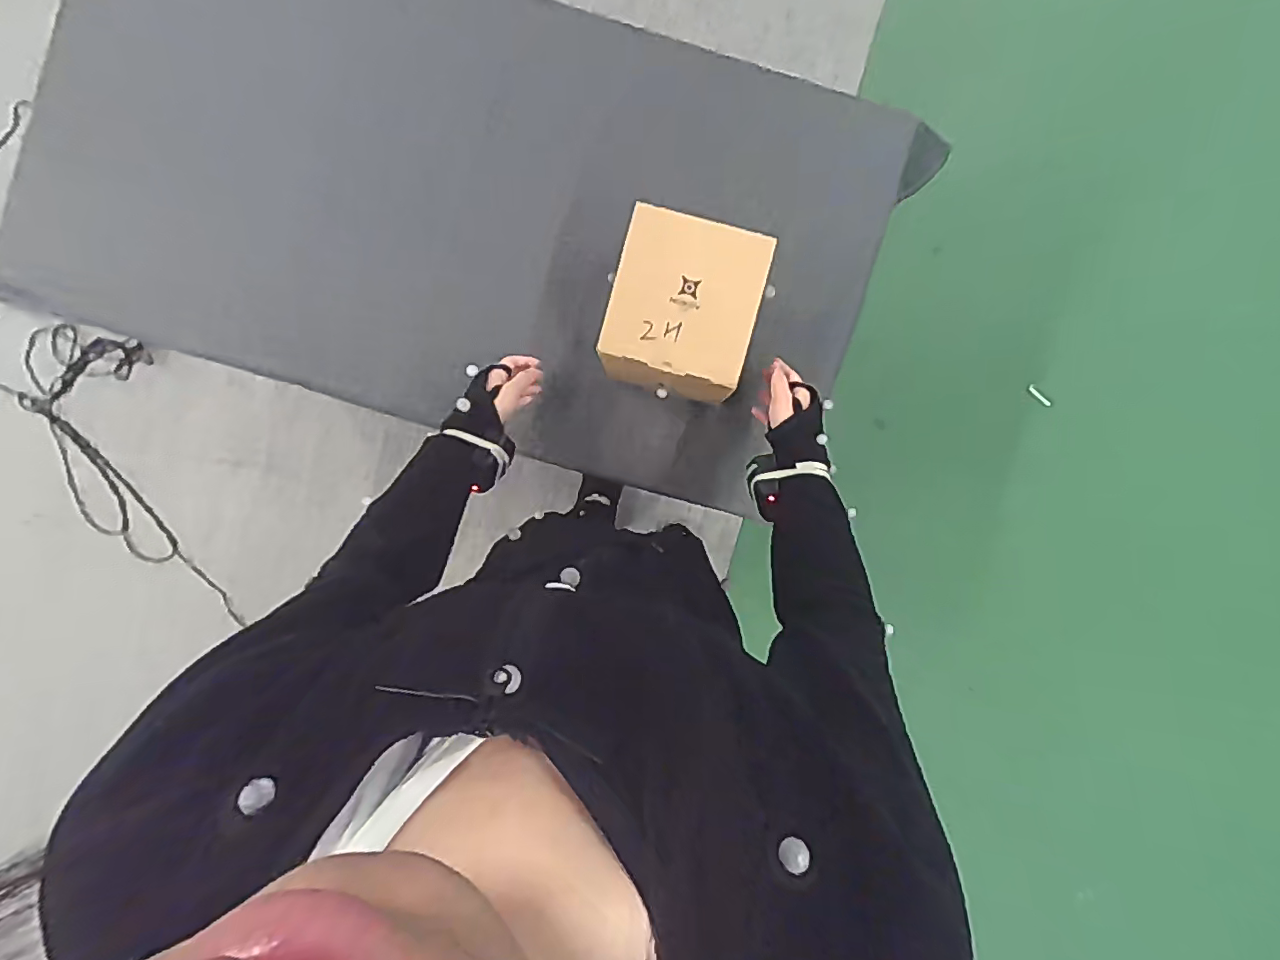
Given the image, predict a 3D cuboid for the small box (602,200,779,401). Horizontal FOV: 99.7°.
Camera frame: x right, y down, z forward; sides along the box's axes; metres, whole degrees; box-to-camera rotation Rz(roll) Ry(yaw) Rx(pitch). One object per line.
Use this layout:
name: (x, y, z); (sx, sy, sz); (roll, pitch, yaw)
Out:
small box: (0.058, -0.213, 0.689); (0.168, 0.176, 0.179); (16, 91, 2)
